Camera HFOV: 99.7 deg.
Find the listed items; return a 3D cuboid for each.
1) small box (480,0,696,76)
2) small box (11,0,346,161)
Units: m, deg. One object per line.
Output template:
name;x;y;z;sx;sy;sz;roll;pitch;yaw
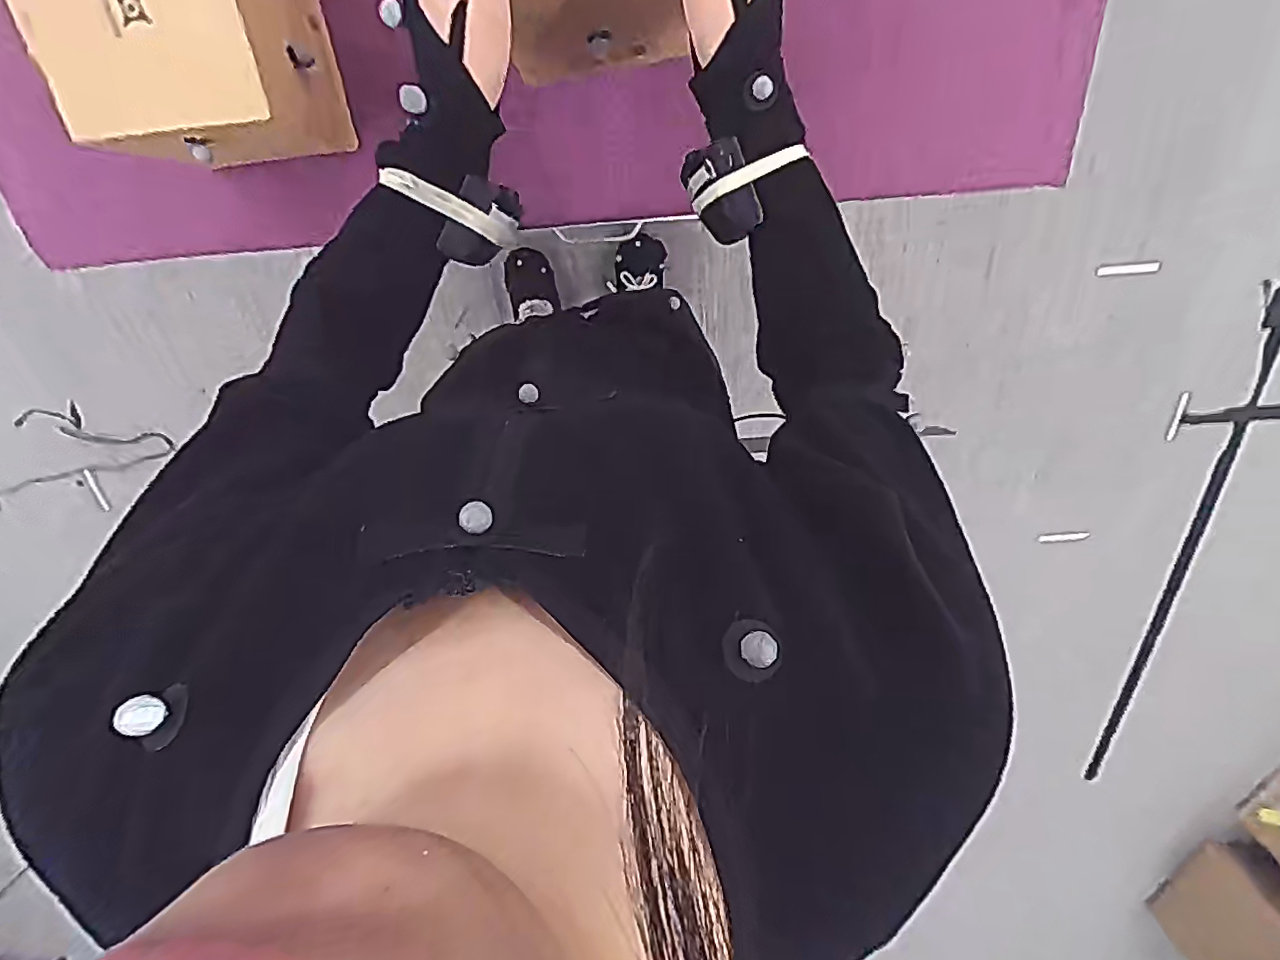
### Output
small box;-0.049;-0.434;0.379;0.168;0.176;0.179;-5;101;7
small box;-0.400;-0.401;0.494;0.179;0.176;0.168;-6;115;2
